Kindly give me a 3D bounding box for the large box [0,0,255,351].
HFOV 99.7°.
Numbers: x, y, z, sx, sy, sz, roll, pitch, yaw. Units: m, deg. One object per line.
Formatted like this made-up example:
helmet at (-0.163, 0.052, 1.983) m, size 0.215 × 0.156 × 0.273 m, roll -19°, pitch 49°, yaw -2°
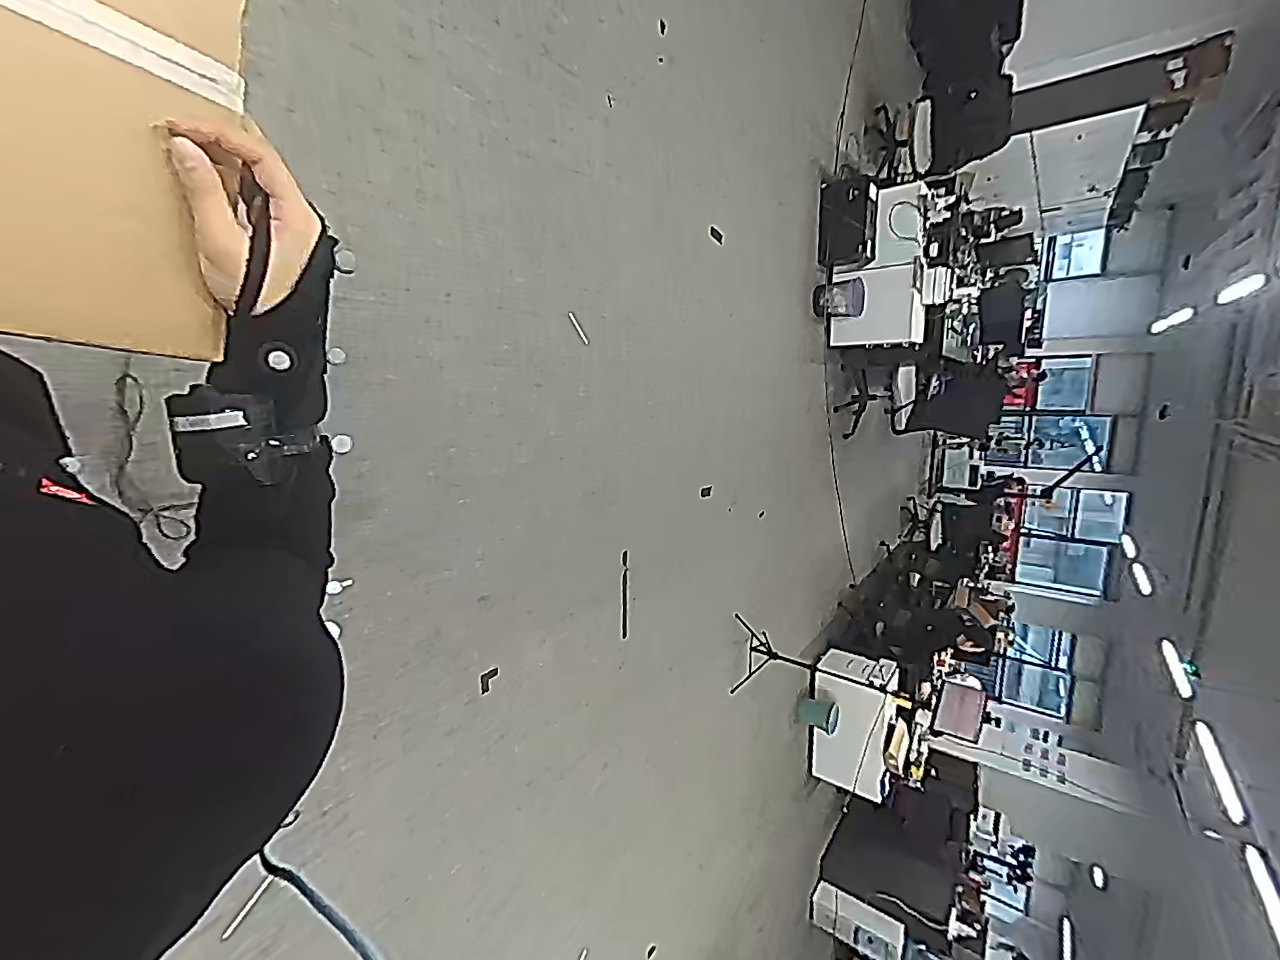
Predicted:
large box at (-0.478, -0.258, 0.260) m, size 0.408 × 0.320 × 0.320 m, roll -1°, pitch 104°, yaw -54°
